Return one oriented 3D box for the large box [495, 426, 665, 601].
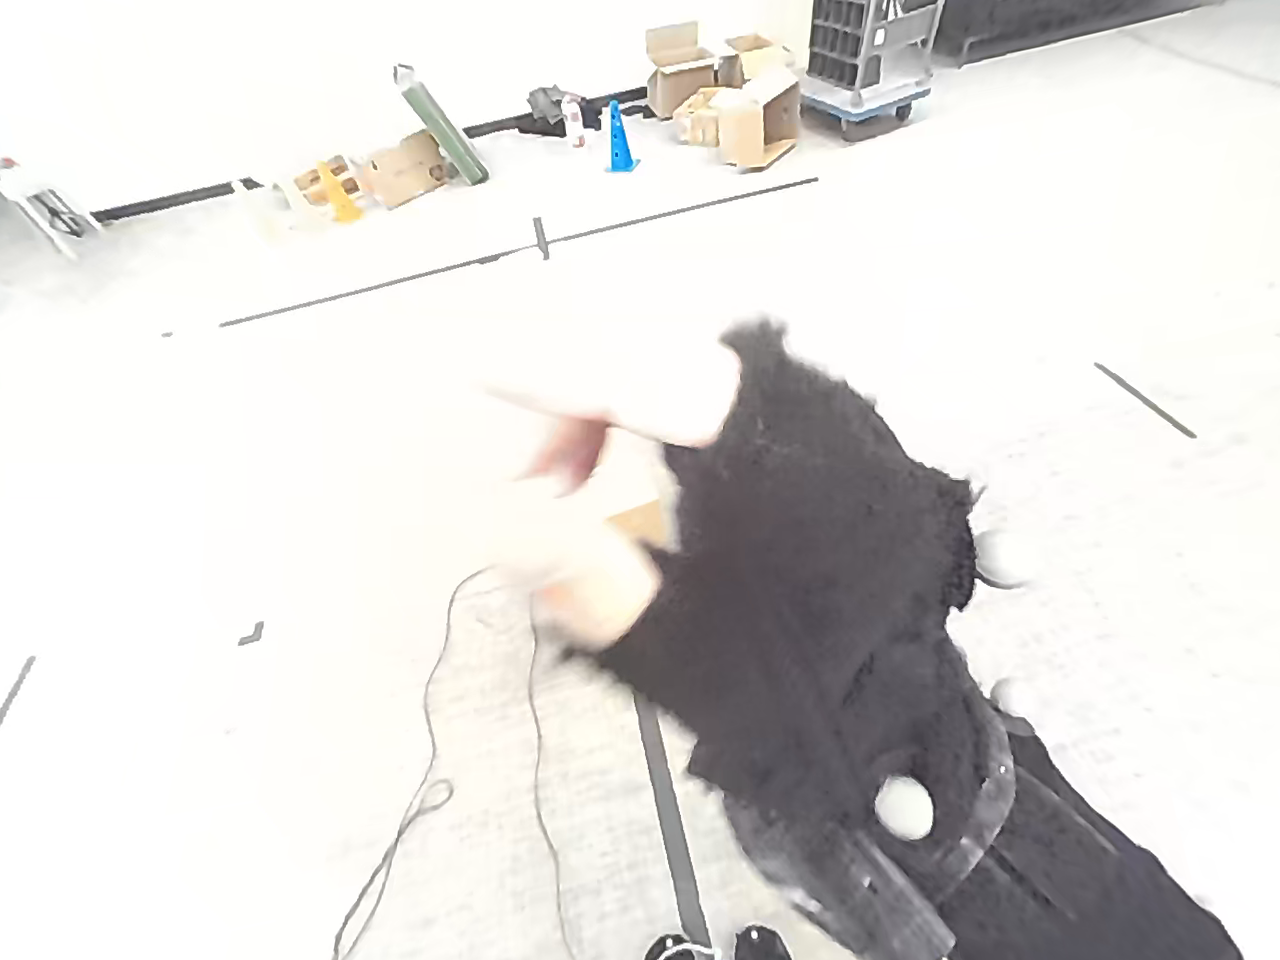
[{"bbox_3d":[-0.170,0.101,1.610,0.408,0.320,0.320,-19,52,-8],"label":"large box"}]
